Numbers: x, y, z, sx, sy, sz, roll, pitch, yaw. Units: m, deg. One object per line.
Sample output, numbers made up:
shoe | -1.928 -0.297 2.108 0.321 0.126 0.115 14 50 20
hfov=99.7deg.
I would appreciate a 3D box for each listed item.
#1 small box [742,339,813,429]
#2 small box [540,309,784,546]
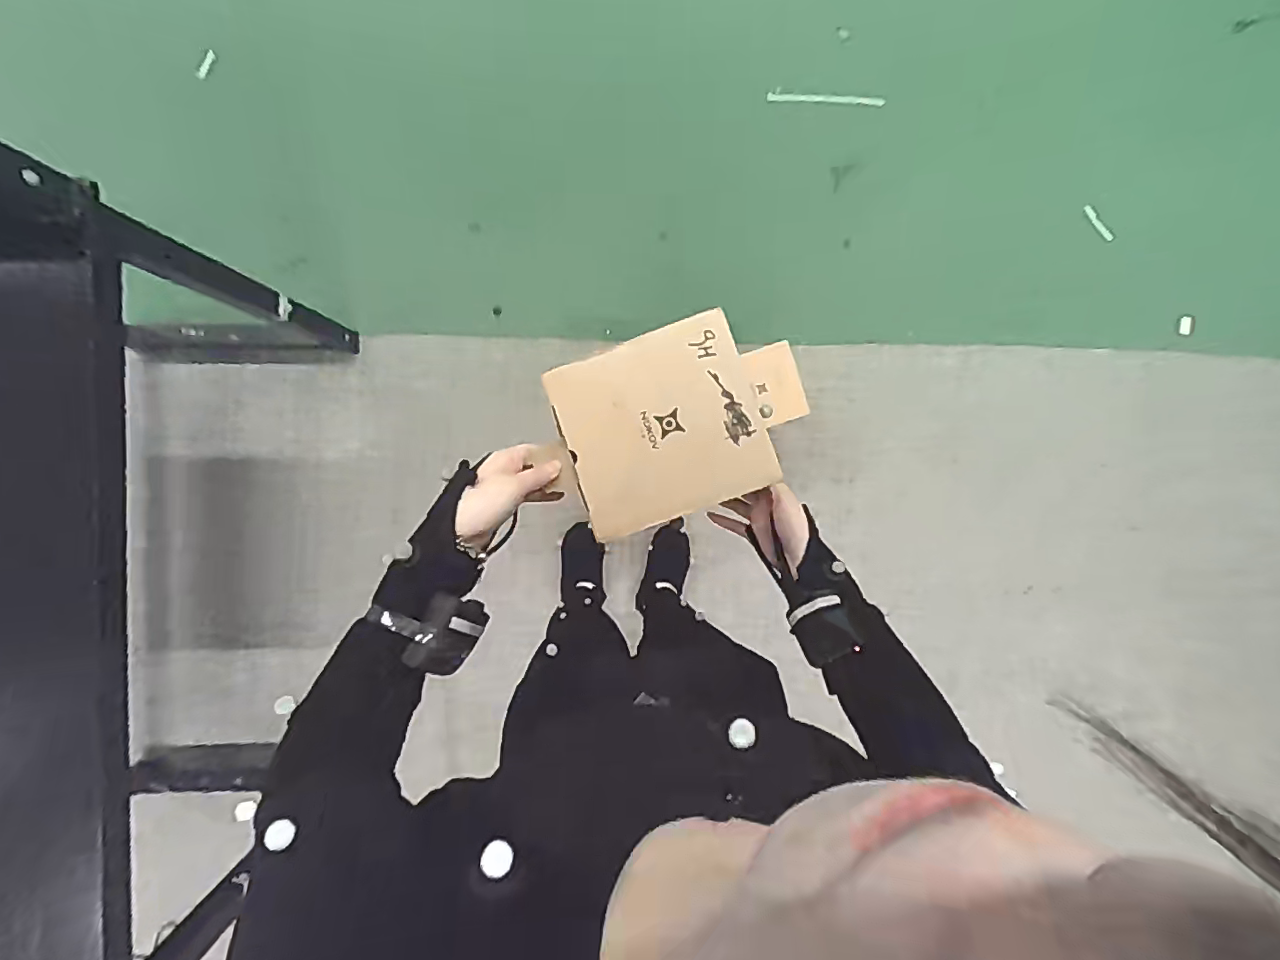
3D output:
small box | 0.251 -0.191 1.196 0.179 0.176 0.168 -19 94 -2
small box | 0.025 -0.041 0.541 0.179 0.176 0.168 -18 87 5
